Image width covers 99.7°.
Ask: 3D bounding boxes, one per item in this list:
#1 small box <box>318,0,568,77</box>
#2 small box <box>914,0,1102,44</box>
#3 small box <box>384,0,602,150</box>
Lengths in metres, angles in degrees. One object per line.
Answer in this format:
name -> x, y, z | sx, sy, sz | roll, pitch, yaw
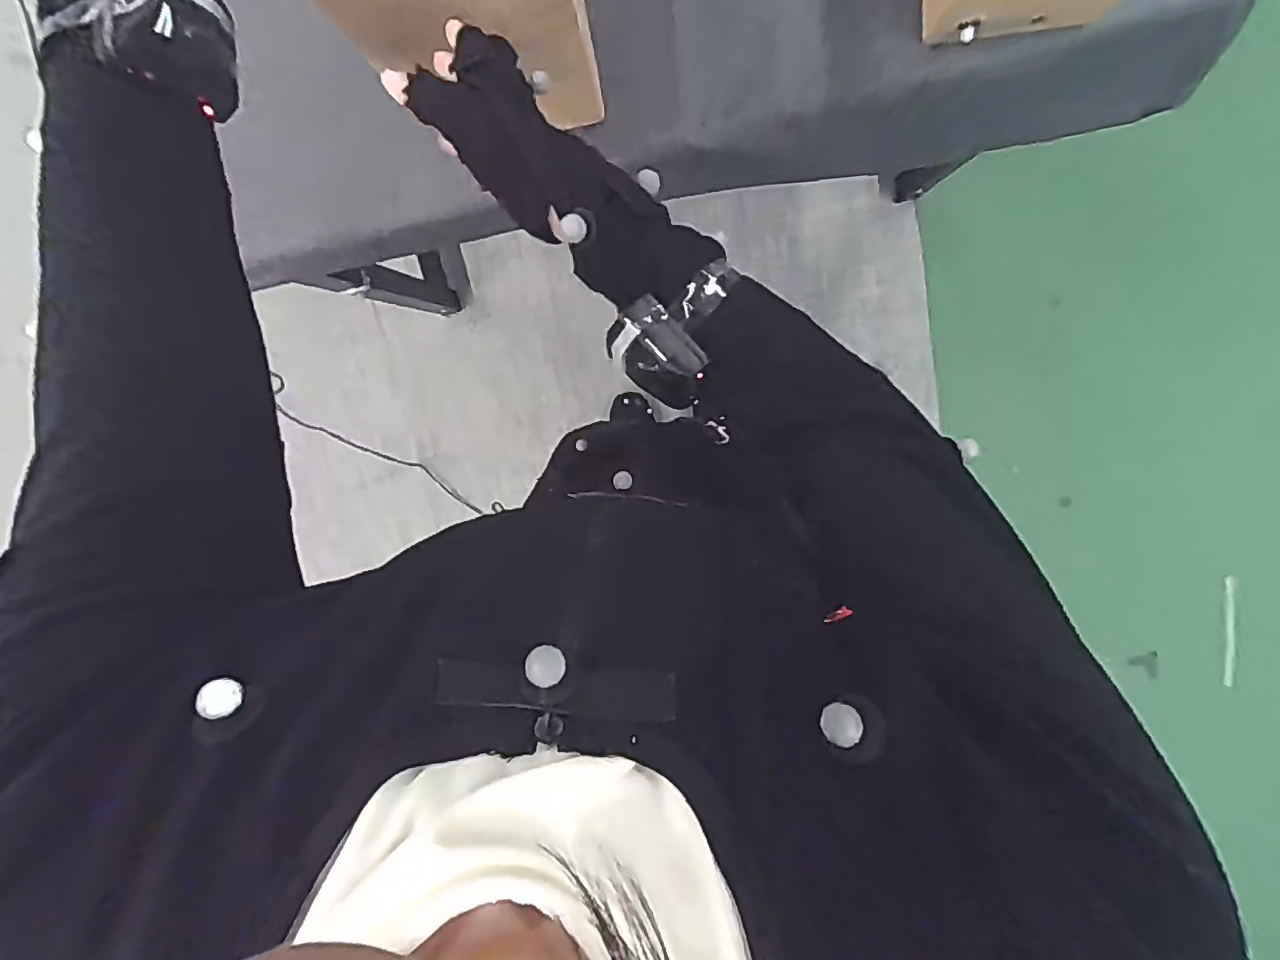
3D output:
small box -> -0.153, -0.425, 0.369 | 0.179, 0.176, 0.168 | -10, 97, 6
small box -> 0.362, -0.532, 0.483 | 0.168, 0.176, 0.179 | -4, 100, 4
small box -> -0.145, -0.455, 0.529 | 0.179, 0.176, 0.168 | -9, 99, 5
